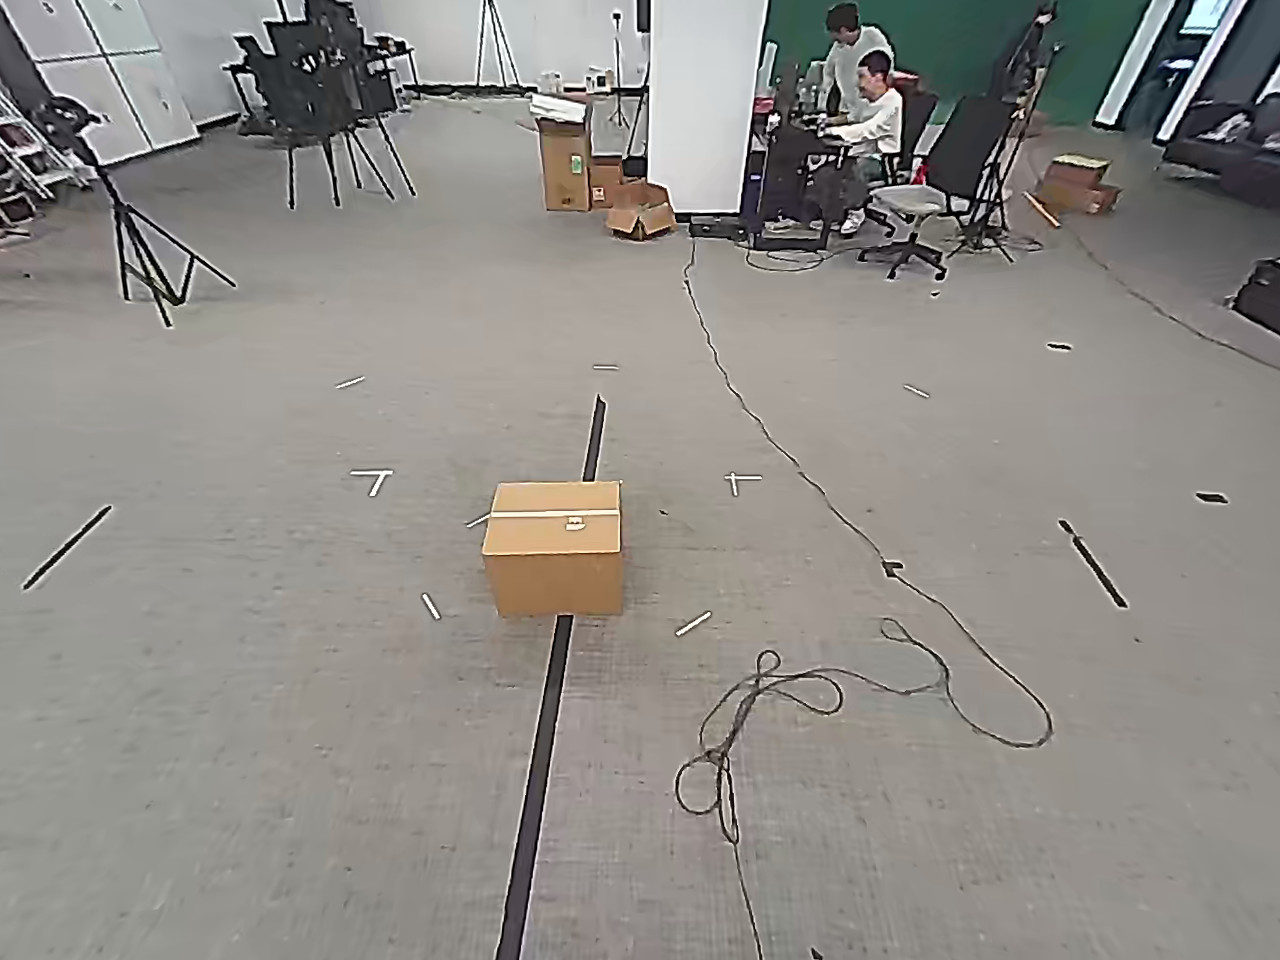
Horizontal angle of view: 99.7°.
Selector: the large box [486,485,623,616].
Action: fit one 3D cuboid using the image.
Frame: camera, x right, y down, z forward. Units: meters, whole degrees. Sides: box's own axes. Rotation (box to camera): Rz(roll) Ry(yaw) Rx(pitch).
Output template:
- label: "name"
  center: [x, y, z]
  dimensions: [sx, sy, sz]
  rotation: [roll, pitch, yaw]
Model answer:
- label: "large box"
  center: [-0.260, 0.231, 1.782]
  dimensions: [0.408, 0.320, 0.320]
  rotation: [0, 42, -2]
